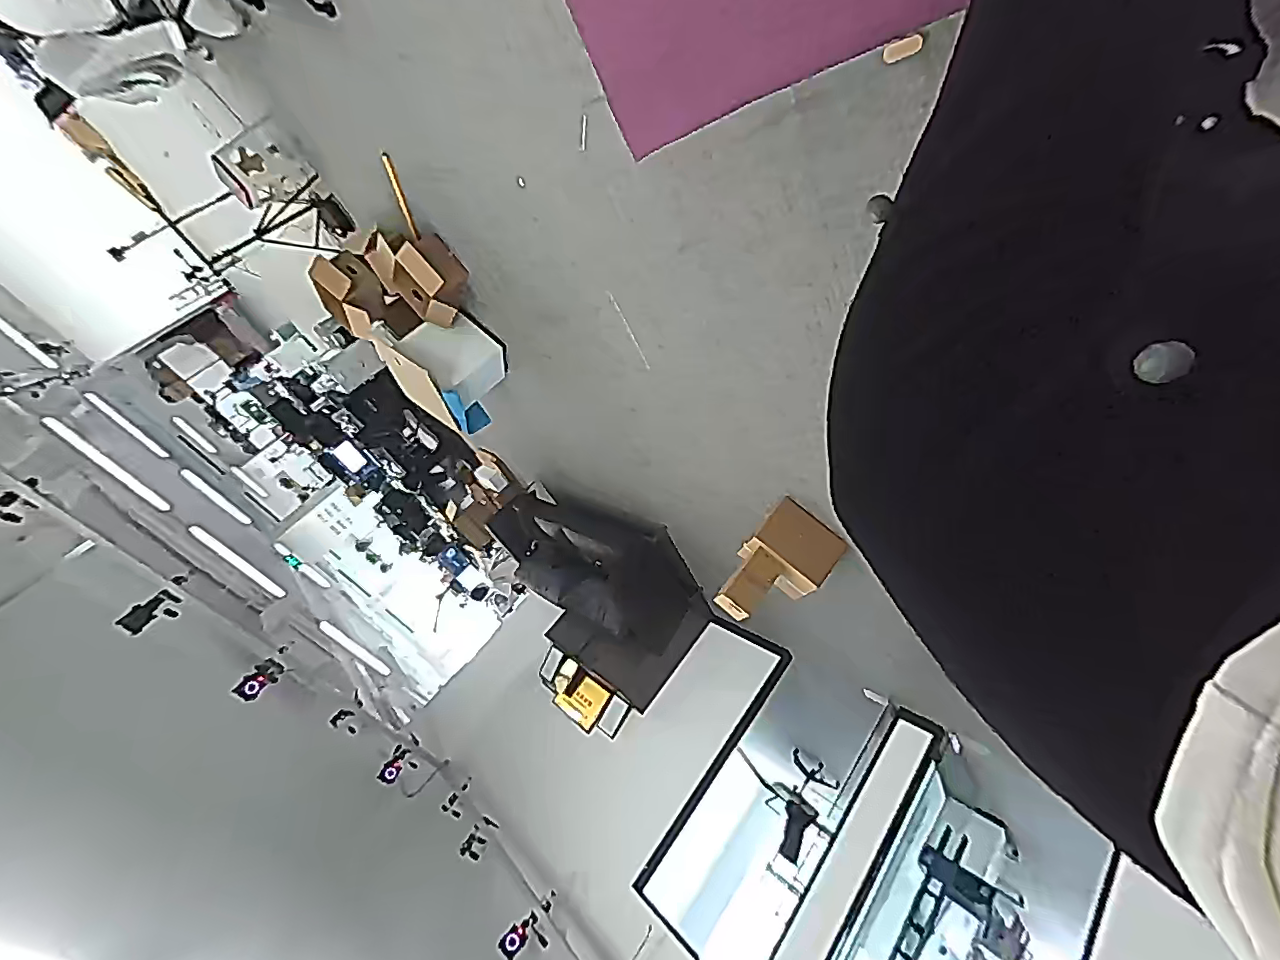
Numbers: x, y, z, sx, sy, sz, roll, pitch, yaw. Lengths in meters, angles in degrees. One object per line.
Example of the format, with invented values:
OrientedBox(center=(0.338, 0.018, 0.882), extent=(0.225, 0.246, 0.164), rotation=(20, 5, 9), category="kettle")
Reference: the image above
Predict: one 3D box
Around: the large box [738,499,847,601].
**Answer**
OrientedBox(center=(0.808, 0.373, 2.889), extent=(0.408, 0.320, 0.320), rotation=(38, 158, 9), category="large box")

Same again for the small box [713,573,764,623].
OrientedBox(center=(0.499, 0.588, 2.707), extent=(0.168, 0.176, 0.179), rotation=(40, 157, 8), category="small box")
